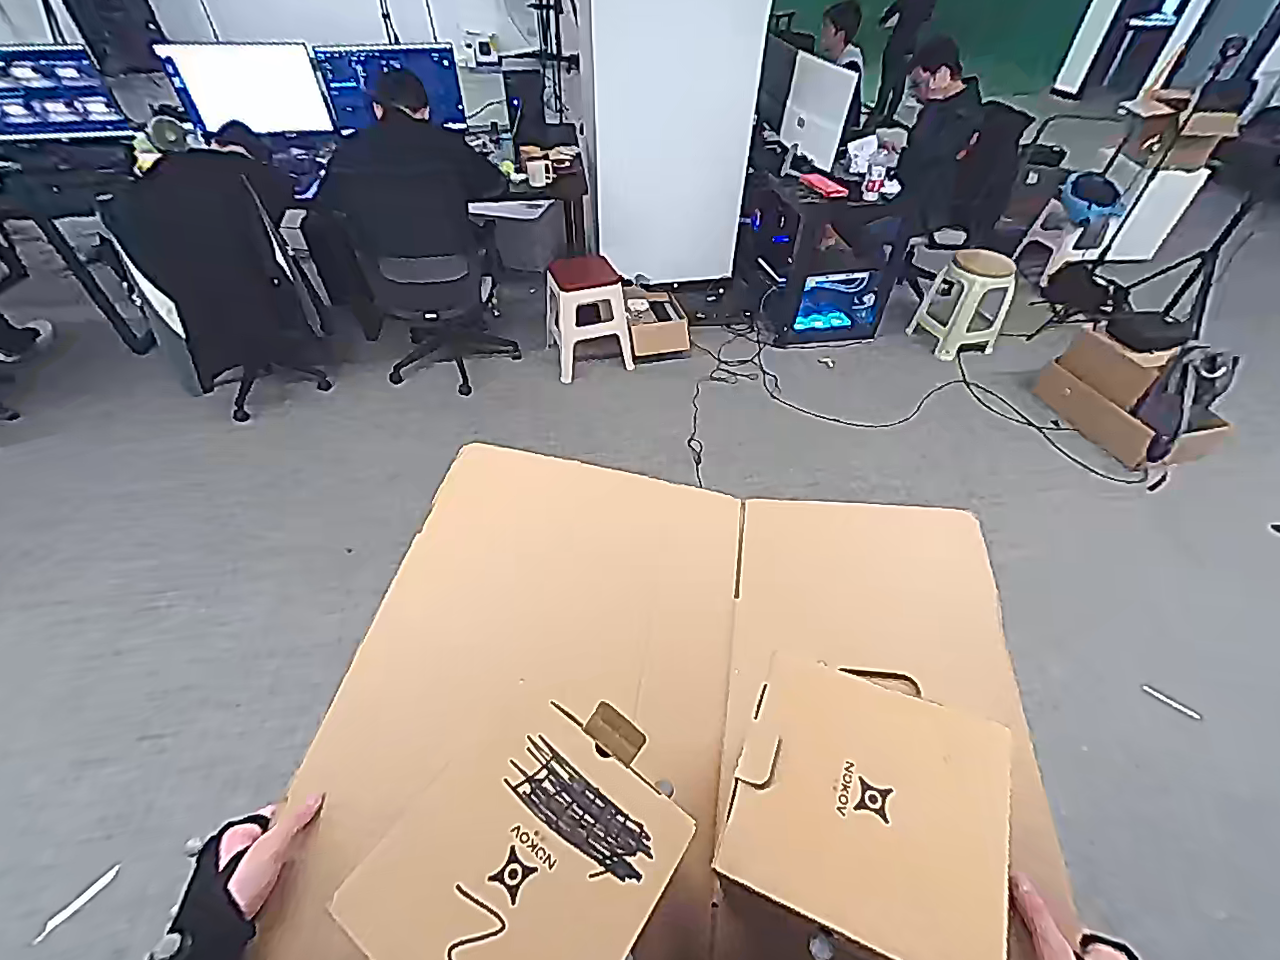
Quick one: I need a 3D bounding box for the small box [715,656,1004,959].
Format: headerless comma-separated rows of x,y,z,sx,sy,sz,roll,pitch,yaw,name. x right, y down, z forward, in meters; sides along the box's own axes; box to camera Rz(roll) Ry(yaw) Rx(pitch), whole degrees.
0.175,0.278,0.453,0.179,0.176,0.168,12,55,22,small box
